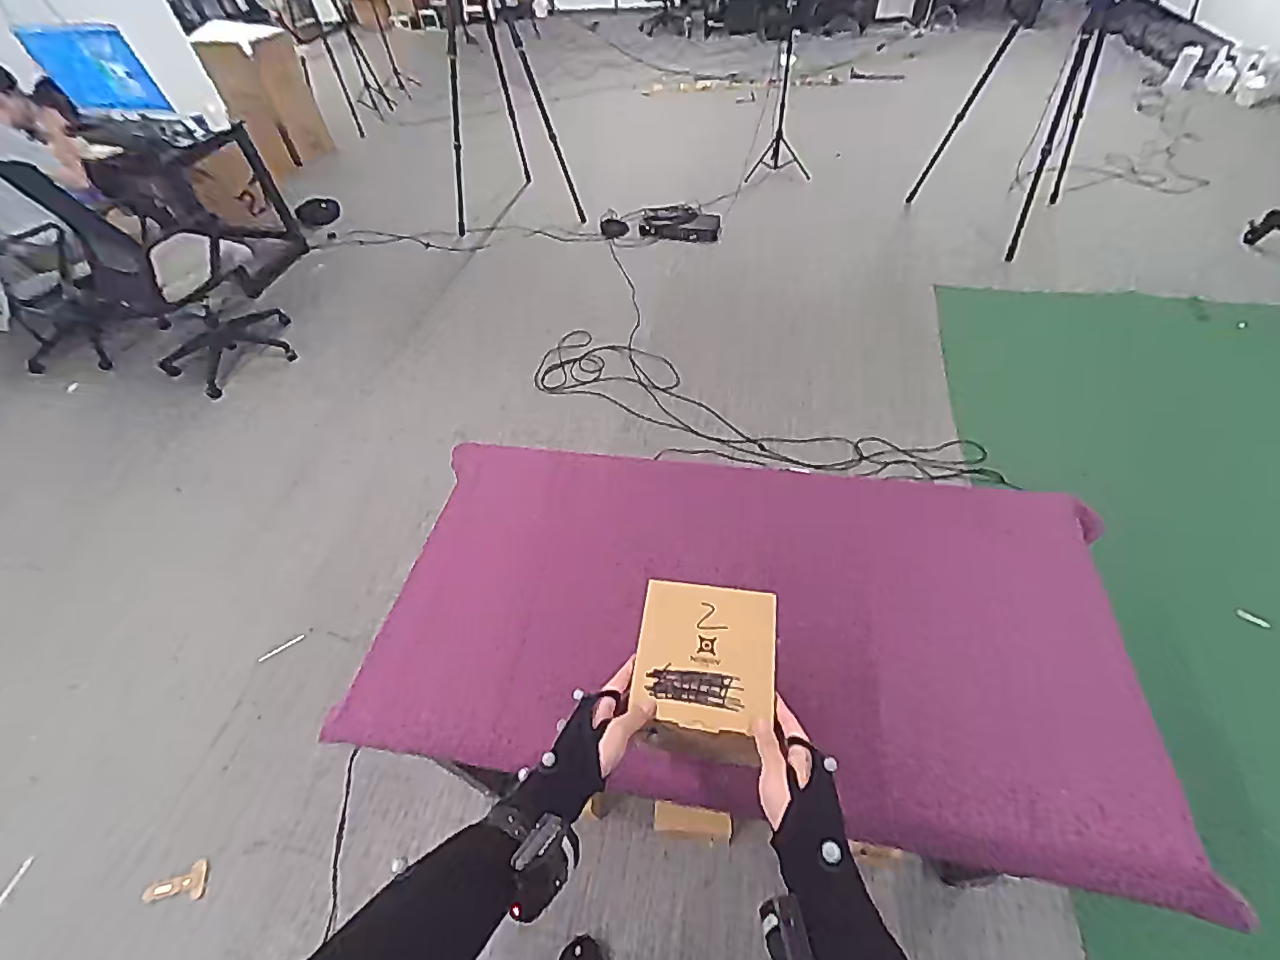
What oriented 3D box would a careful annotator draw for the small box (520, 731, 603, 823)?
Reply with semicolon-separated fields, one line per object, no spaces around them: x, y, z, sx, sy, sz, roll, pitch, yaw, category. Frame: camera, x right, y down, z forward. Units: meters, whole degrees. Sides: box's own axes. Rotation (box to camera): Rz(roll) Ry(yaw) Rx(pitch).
-0.188;0.745;1.353;0.168;0.176;0.179;0;50;4;small box

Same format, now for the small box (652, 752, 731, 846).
0.125;0.772;1.307;0.179;0.176;0.168;0;49;6;small box

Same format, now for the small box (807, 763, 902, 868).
0.491;0.786;1.264;0.168;0.176;0.179;4;49;7;small box
